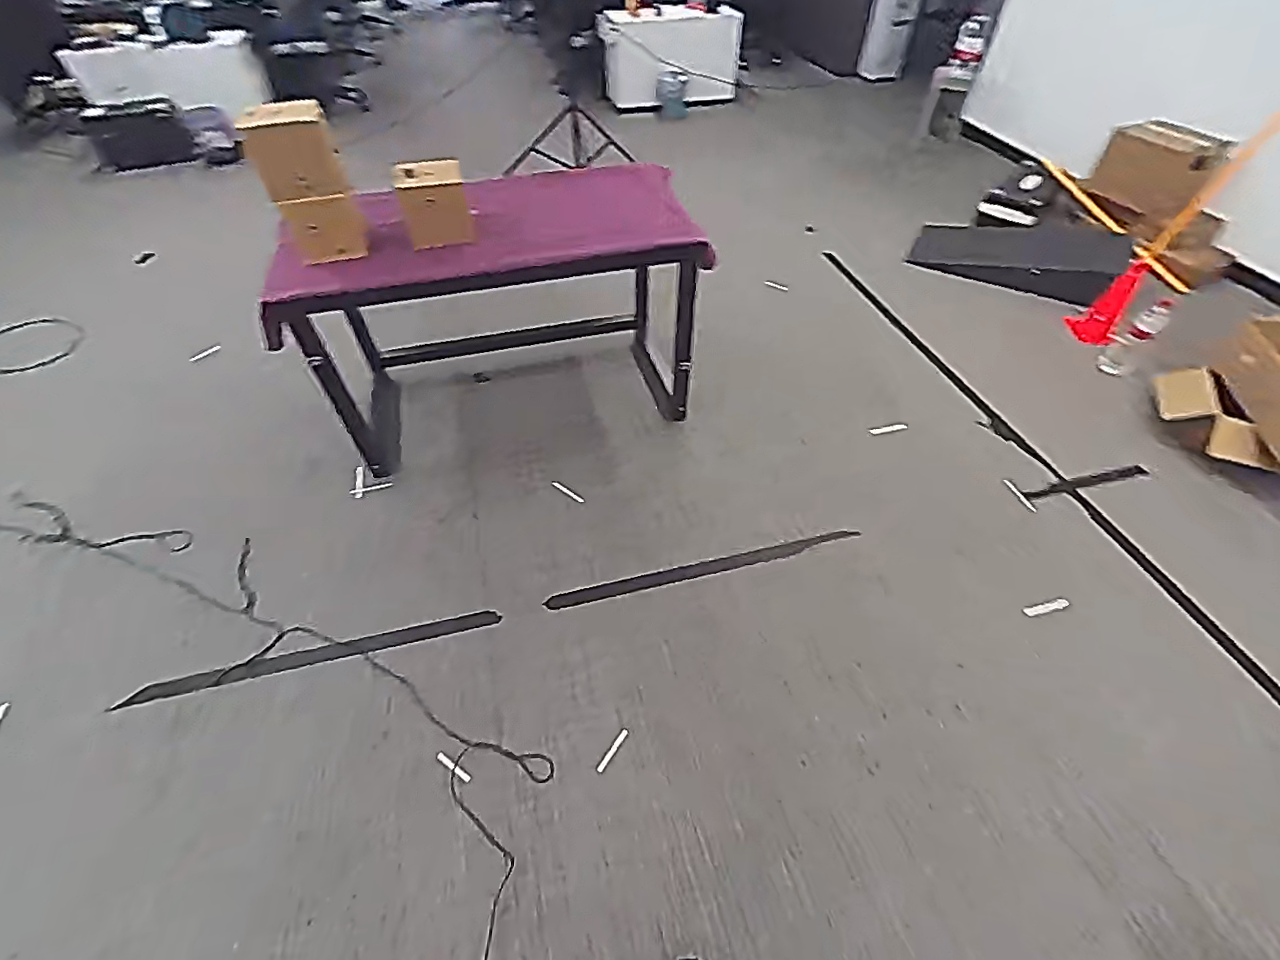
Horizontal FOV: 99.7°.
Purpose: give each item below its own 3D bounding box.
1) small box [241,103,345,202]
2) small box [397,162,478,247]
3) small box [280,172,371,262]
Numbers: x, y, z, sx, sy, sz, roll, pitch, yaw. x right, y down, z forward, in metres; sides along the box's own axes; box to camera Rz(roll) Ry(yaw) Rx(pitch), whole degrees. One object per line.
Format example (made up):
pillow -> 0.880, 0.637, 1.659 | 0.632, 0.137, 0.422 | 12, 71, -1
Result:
small box -> -0.869, -0.831, 1.375 | 0.179, 0.176, 0.168 | -16, 51, -14
small box -> -0.579, -0.786, 1.550 | 0.179, 0.176, 0.168 | -13, 51, -12
small box -> -0.862, -0.721, 1.497 | 0.168, 0.176, 0.179 | -15, 51, -12
